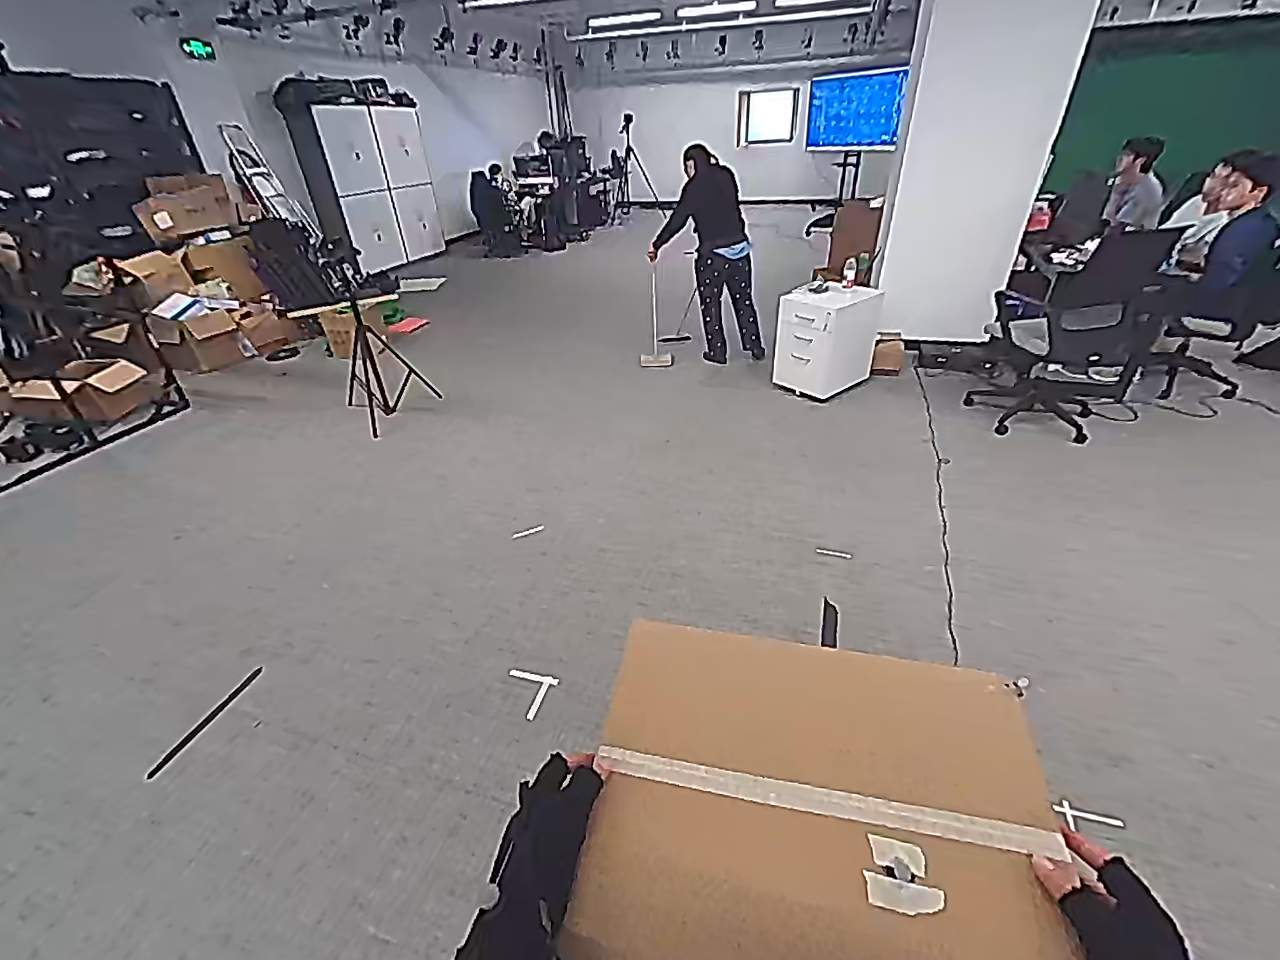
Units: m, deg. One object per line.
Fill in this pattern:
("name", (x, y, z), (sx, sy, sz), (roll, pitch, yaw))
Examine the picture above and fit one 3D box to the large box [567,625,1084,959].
("large box", (0.168, 0.400, 0.606), (0.408, 0.320, 0.320), (6, 45, 11))
